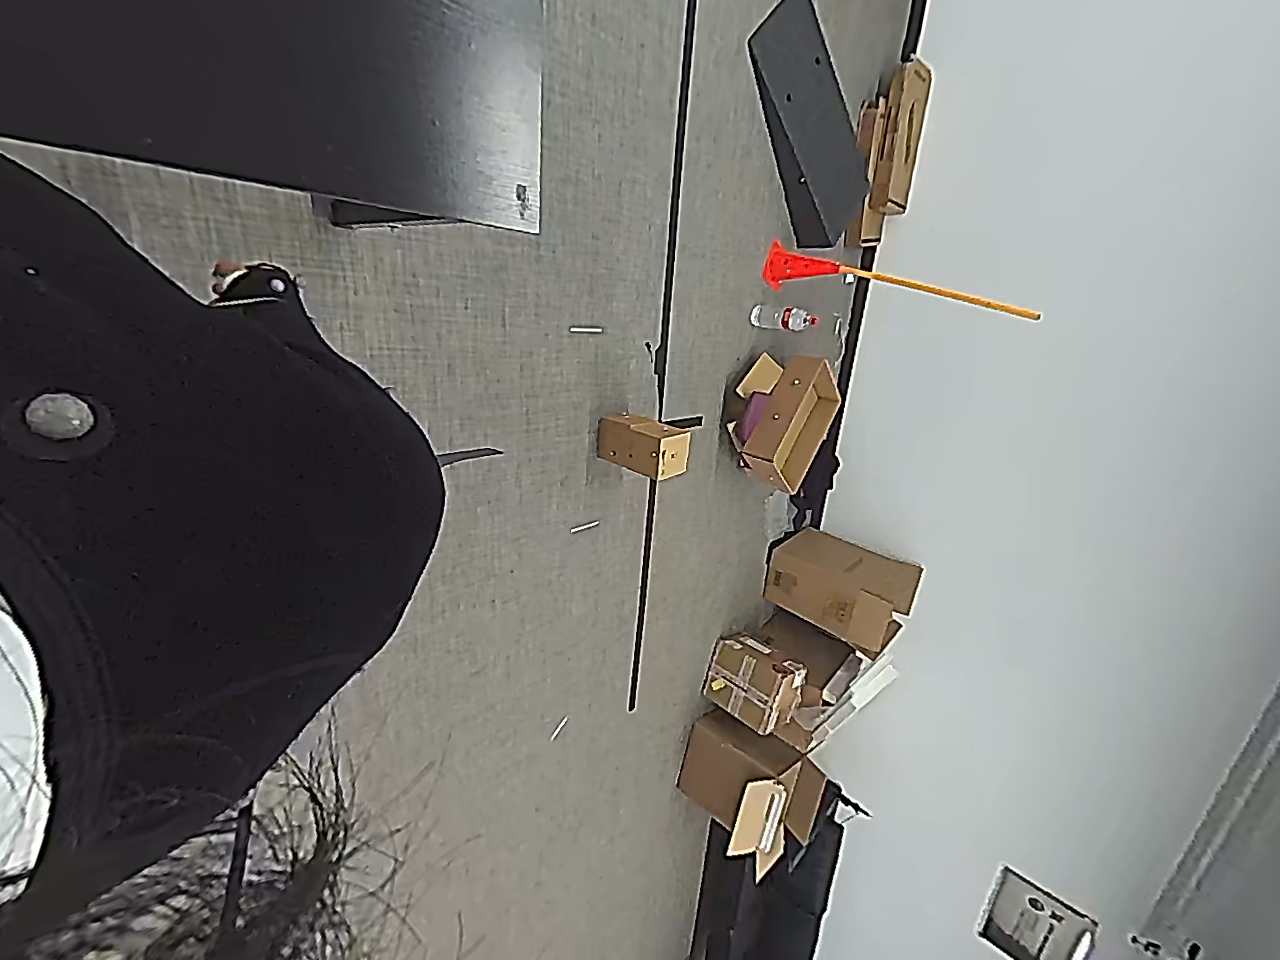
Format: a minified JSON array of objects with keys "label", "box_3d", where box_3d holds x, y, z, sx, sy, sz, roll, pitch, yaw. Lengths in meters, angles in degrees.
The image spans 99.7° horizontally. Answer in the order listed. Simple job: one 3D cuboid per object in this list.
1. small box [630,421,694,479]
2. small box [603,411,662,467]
[{"label":"small box","box_3d":[0.084,-0.121,2.067,0.179,0.176,0.168,-19,120,-45]},{"label":"small box","box_3d":[-0.034,-0.168,2.170,0.168,0.176,0.179,-16,117,-45]}]
